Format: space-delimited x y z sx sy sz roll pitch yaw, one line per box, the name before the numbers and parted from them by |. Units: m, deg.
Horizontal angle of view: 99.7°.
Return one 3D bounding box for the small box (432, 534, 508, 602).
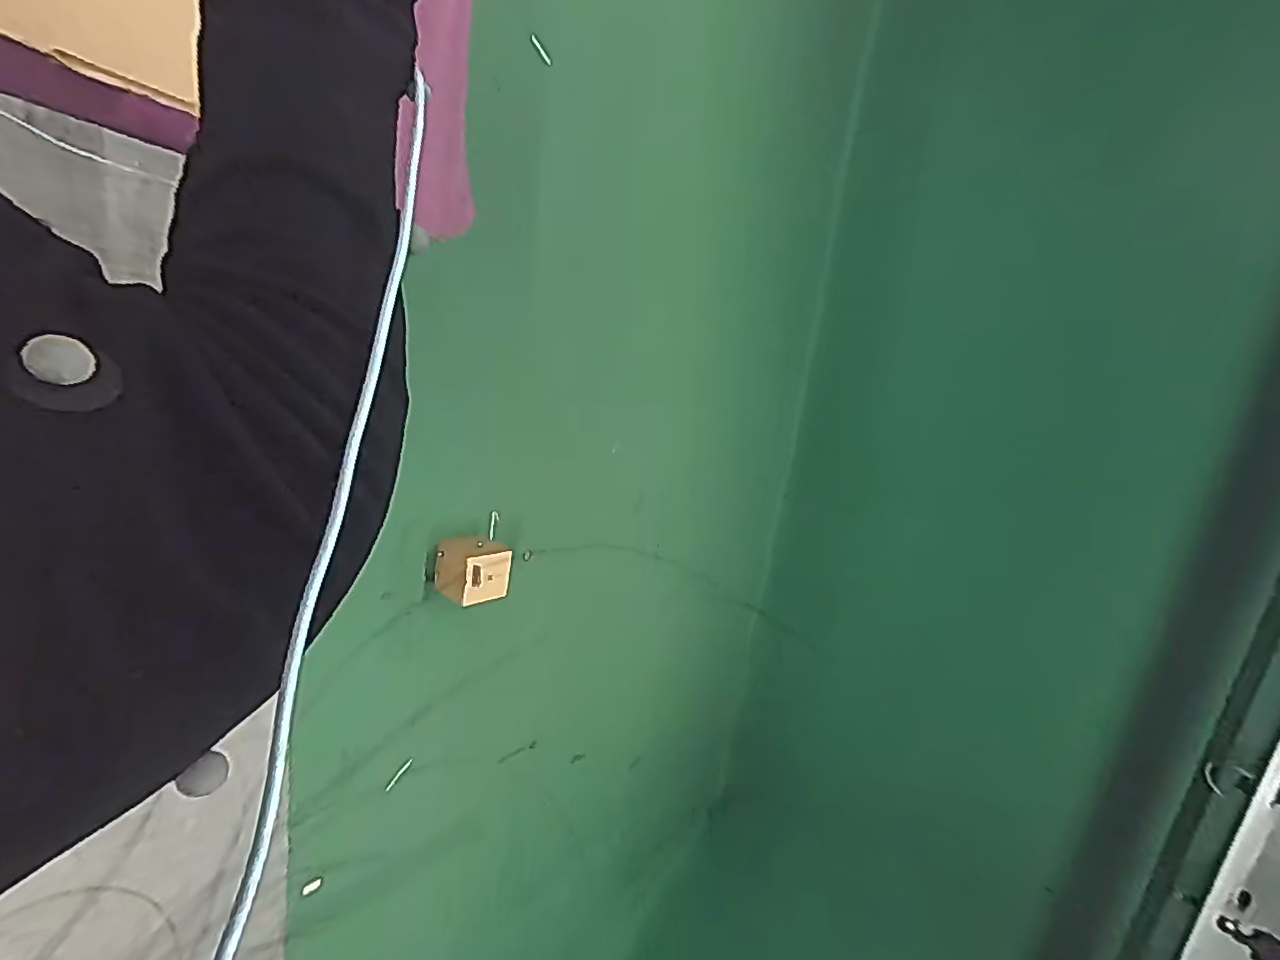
small box | -0.569 0.287 1.804 0.179 0.176 0.168 -3 107 -53
